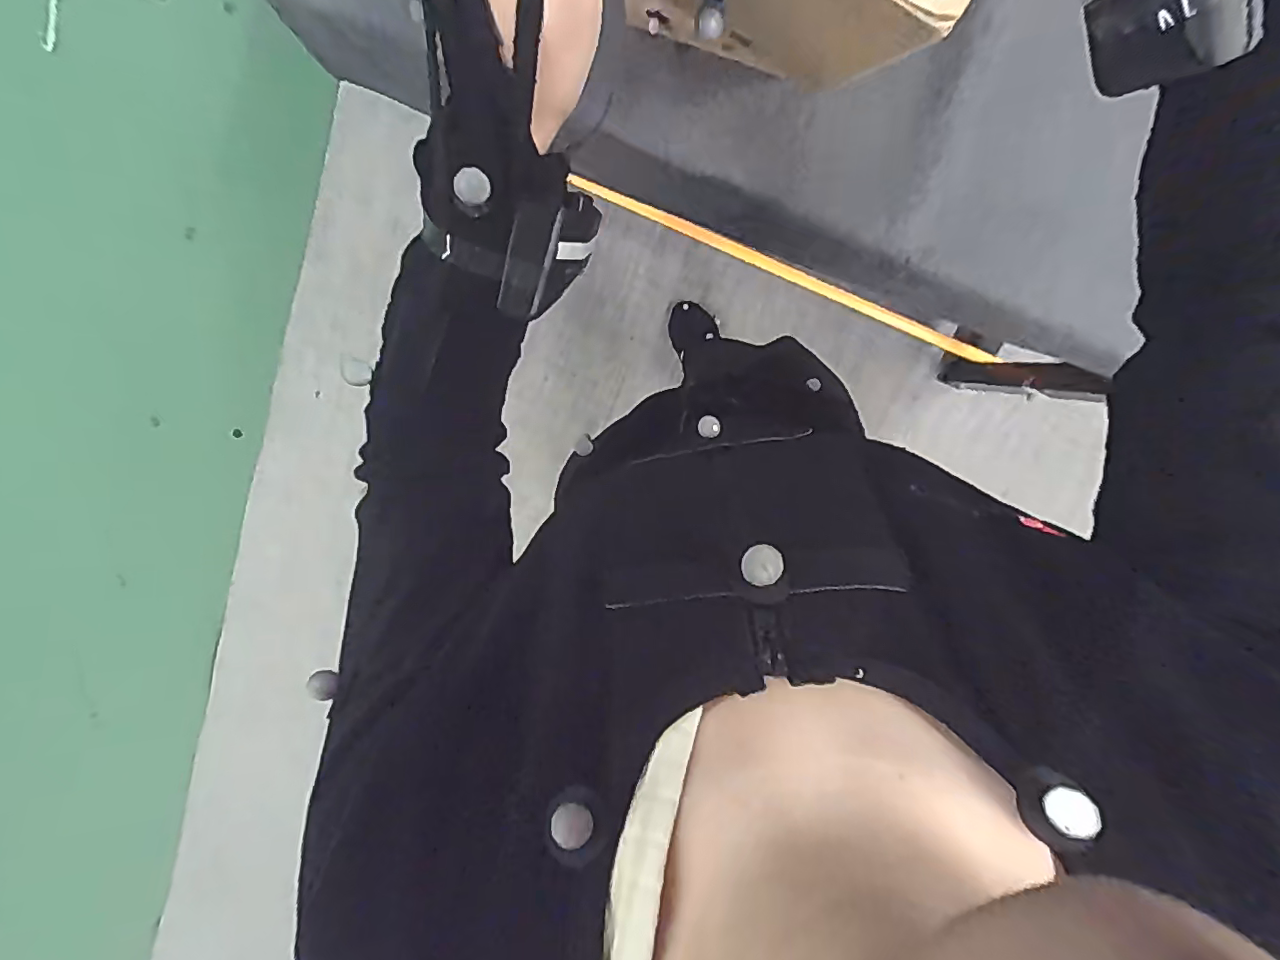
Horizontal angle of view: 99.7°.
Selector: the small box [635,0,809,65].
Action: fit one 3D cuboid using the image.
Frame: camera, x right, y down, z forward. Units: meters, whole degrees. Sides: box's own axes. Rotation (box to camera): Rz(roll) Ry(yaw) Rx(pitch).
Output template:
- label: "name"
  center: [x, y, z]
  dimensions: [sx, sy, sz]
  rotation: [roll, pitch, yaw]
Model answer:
- label: "small box"
  center: [0.084, -0.483, 0.428]
  dimensions: [0.168, 0.176, 0.179]
  rotation: [18, 102, -2]
